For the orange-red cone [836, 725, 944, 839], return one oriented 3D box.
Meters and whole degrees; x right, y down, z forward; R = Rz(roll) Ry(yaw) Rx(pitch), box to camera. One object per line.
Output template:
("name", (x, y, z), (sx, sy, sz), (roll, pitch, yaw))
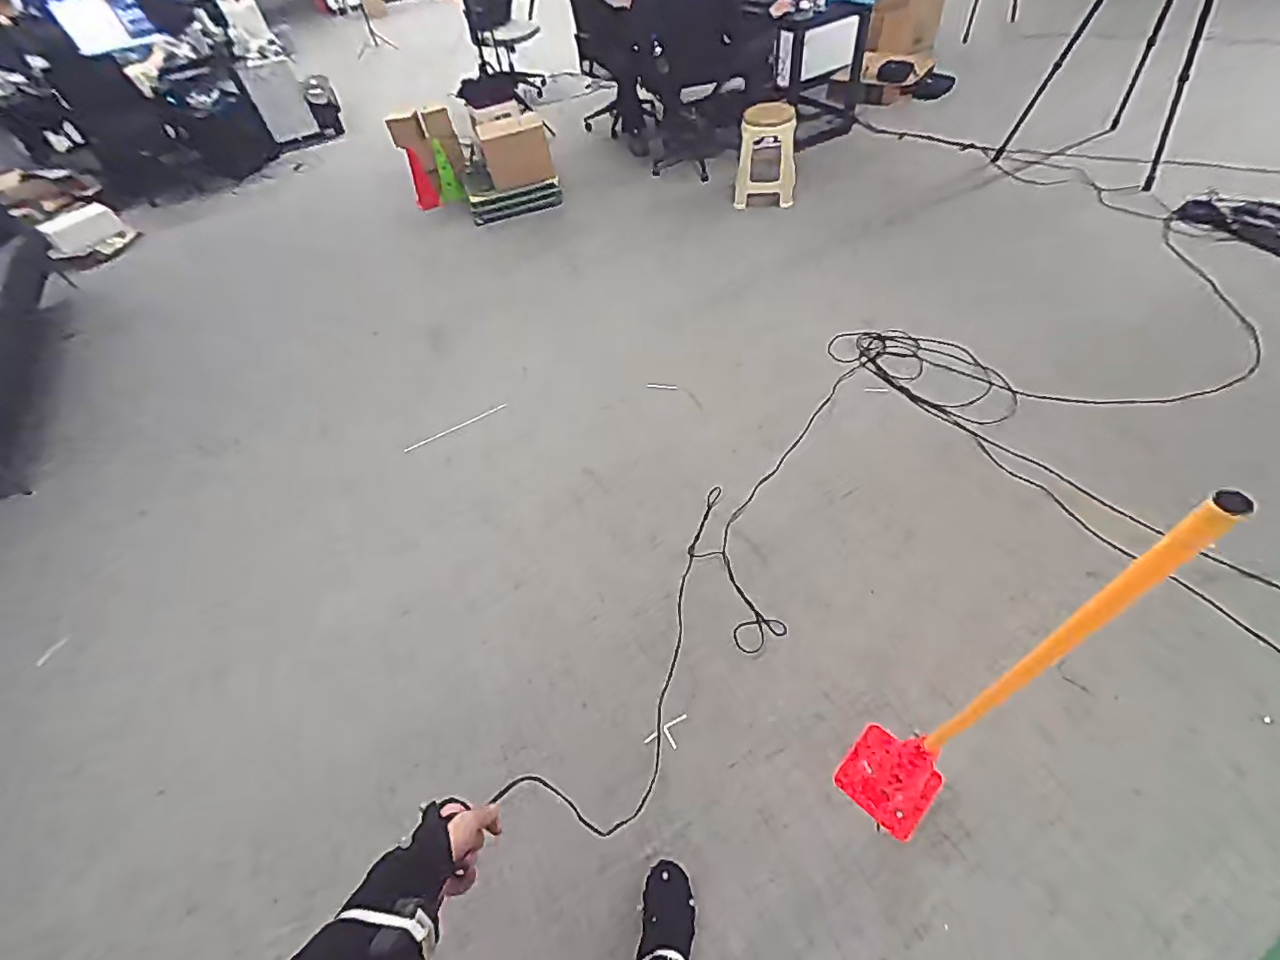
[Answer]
("orange-red cone", (0.603, 0.637, 1.214), (0.199, 0.360, 0.198), (-39, 57, -23))
